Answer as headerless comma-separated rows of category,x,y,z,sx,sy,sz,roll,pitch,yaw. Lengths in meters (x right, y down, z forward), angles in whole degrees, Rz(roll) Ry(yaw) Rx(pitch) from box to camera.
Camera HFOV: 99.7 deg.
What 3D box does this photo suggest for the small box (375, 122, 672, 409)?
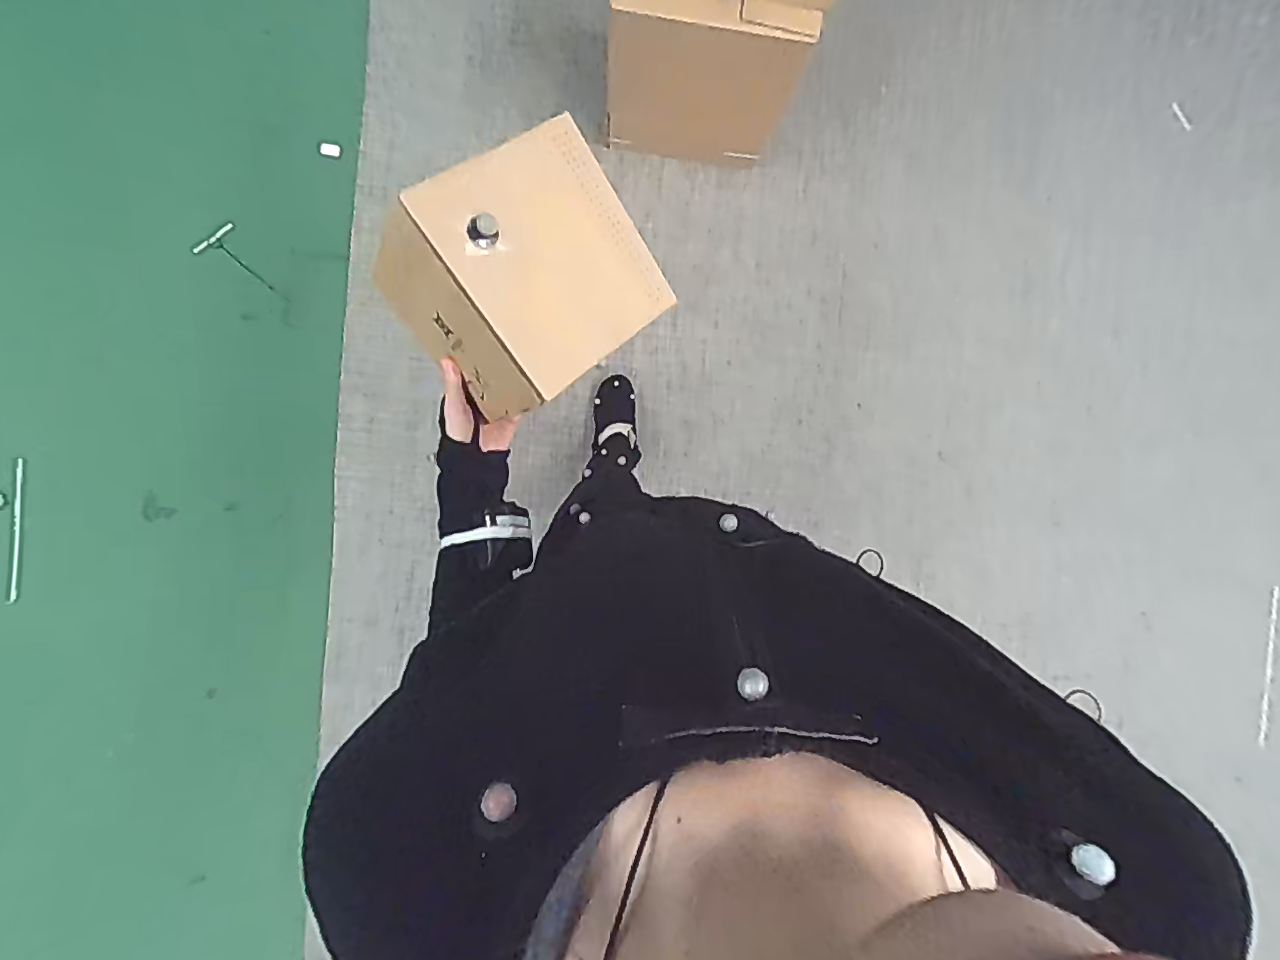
small box,-0.106,-0.190,0.497,0.176,0.168,0.179,-44,111,-23
